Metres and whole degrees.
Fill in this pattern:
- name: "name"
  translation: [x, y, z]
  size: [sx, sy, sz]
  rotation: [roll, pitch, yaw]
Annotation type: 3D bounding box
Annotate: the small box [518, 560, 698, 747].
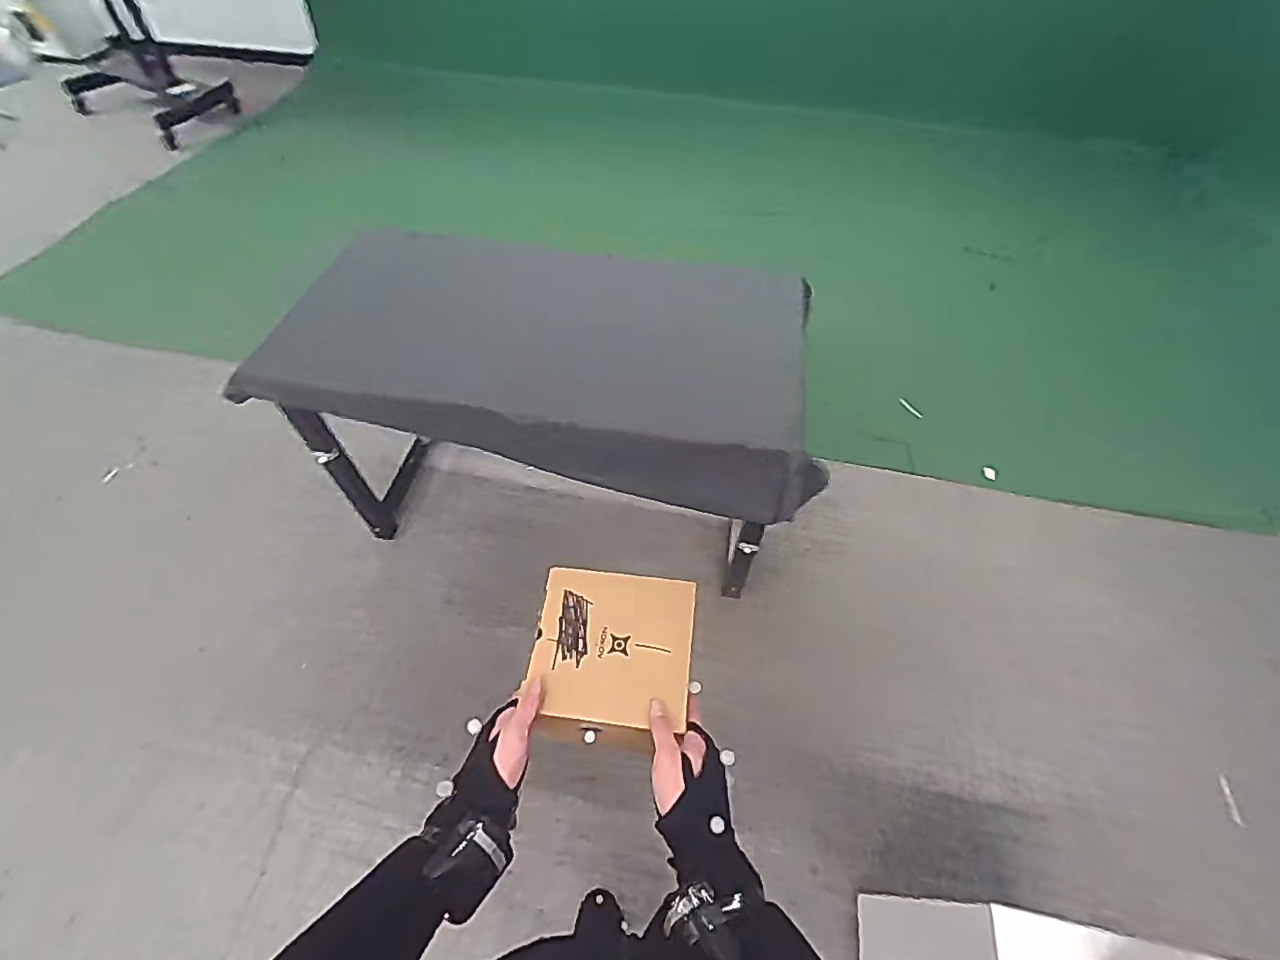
- name: "small box"
  translation: [-0.028, 0.214, 0.651]
  size: [0.179, 0.176, 0.168]
  rotation: [6, 57, 4]
